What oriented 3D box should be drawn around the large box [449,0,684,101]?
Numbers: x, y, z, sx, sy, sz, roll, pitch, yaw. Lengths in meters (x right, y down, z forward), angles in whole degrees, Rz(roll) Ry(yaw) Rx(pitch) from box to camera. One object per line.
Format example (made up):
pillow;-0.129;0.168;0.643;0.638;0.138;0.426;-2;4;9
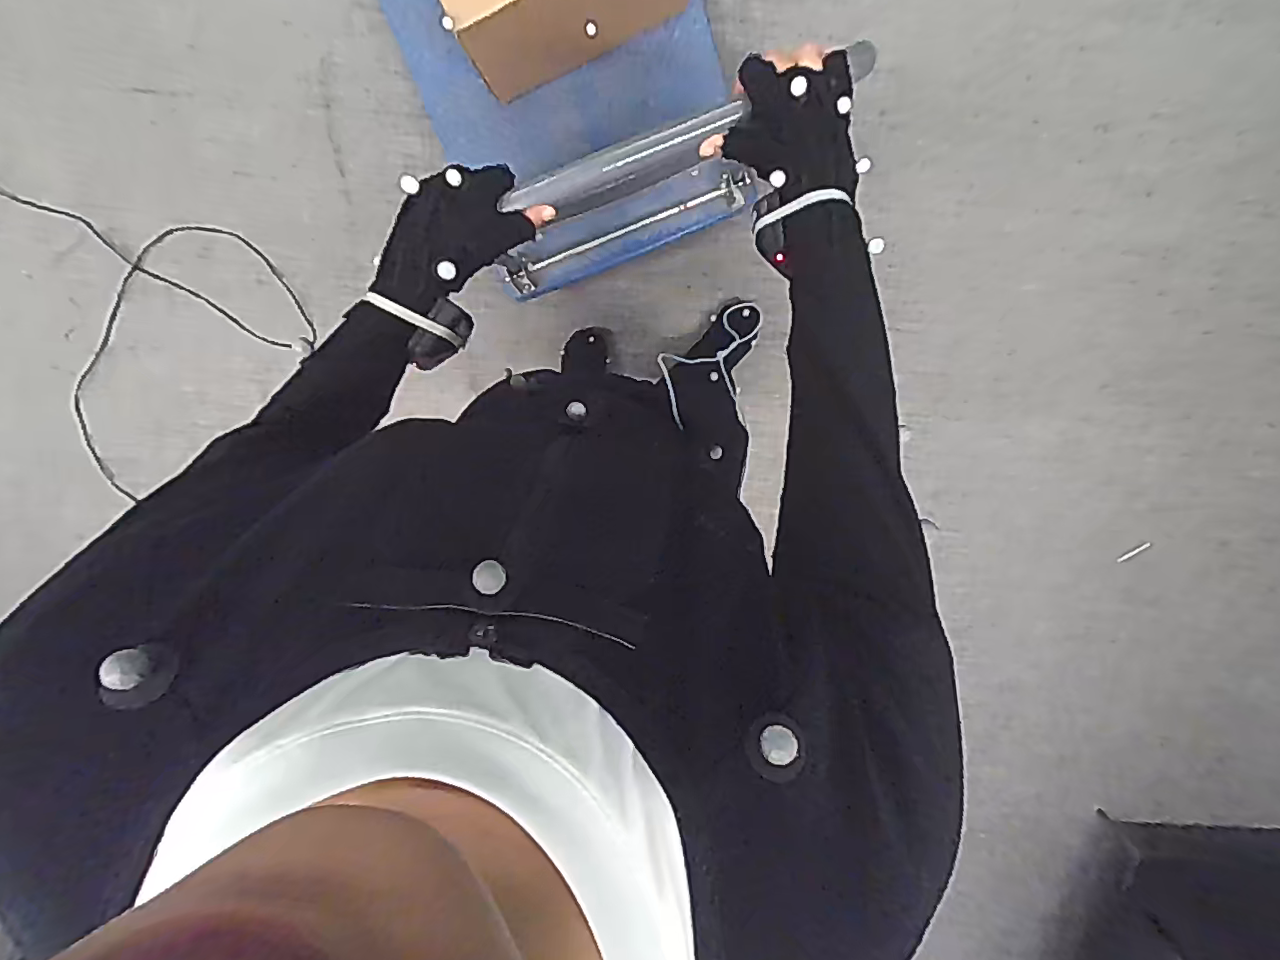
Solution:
large box;-0.146;-0.923;0.883;0.408;0.320;0.320;-24;106;8
